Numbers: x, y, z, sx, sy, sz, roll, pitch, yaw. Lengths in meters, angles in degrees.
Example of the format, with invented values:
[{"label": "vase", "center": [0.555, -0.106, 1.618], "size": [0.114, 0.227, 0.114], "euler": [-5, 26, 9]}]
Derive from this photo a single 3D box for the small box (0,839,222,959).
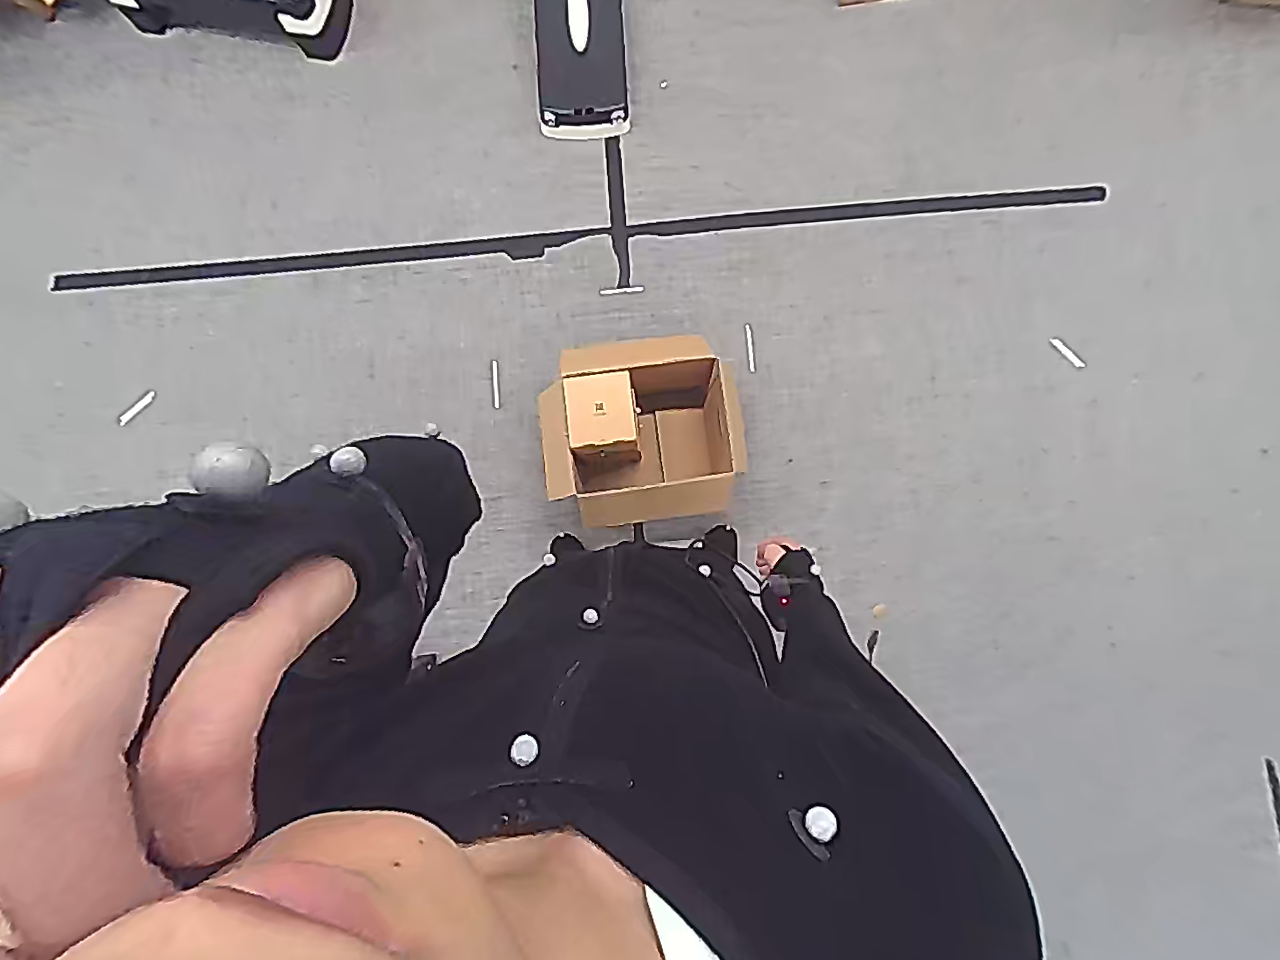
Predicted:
[{"label": "small box", "center": [-0.746, 0.640, 0.765], "size": [0.179, 0.176, 0.168], "euler": [-1, 87, -1]}]
